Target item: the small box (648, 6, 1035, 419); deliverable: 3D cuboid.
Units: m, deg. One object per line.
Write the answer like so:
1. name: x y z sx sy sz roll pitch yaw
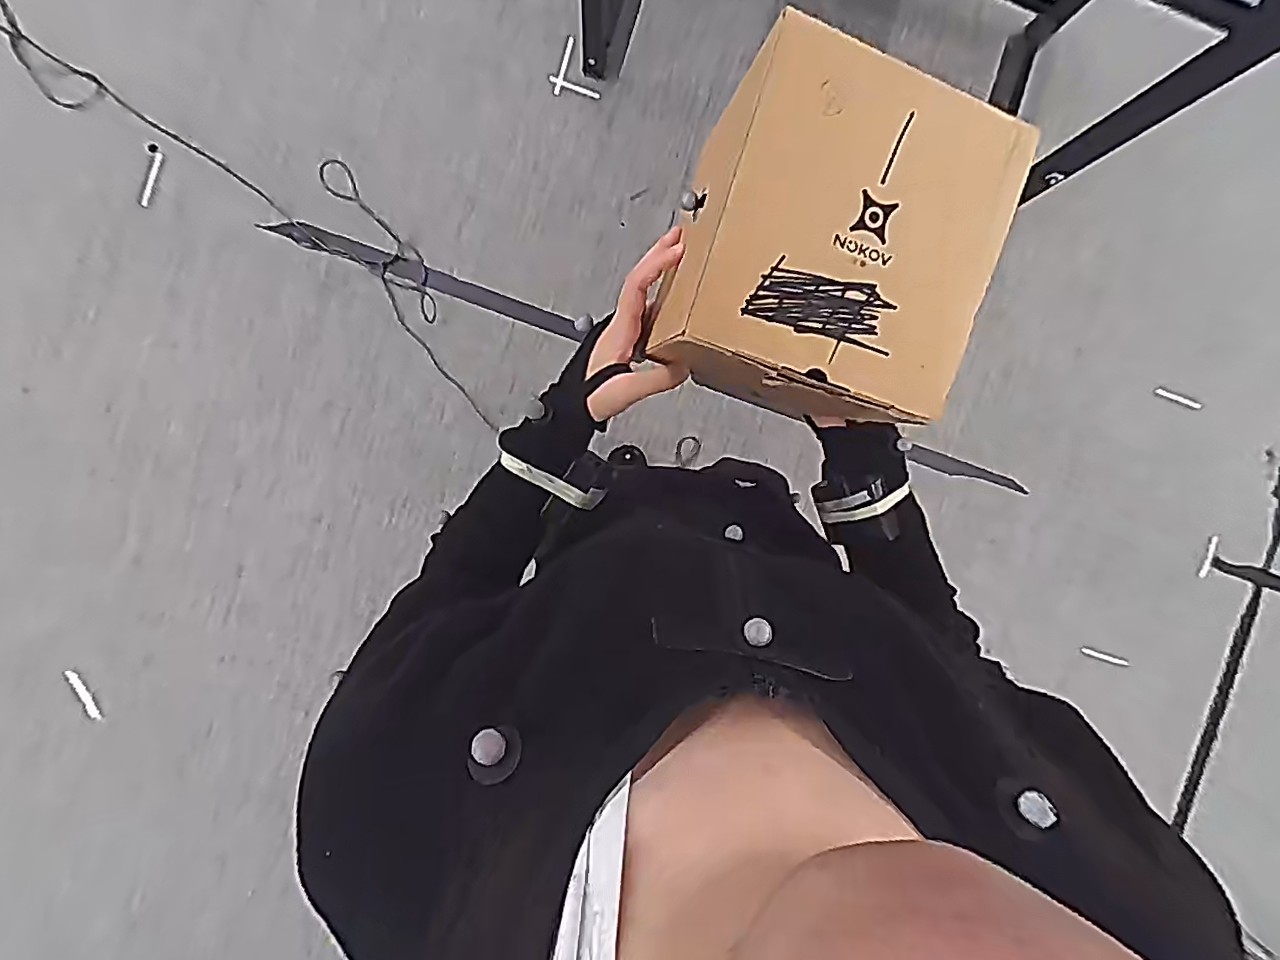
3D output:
1. small box: 0.111 -0.152 0.378 0.168 0.176 0.179 17 95 -11
